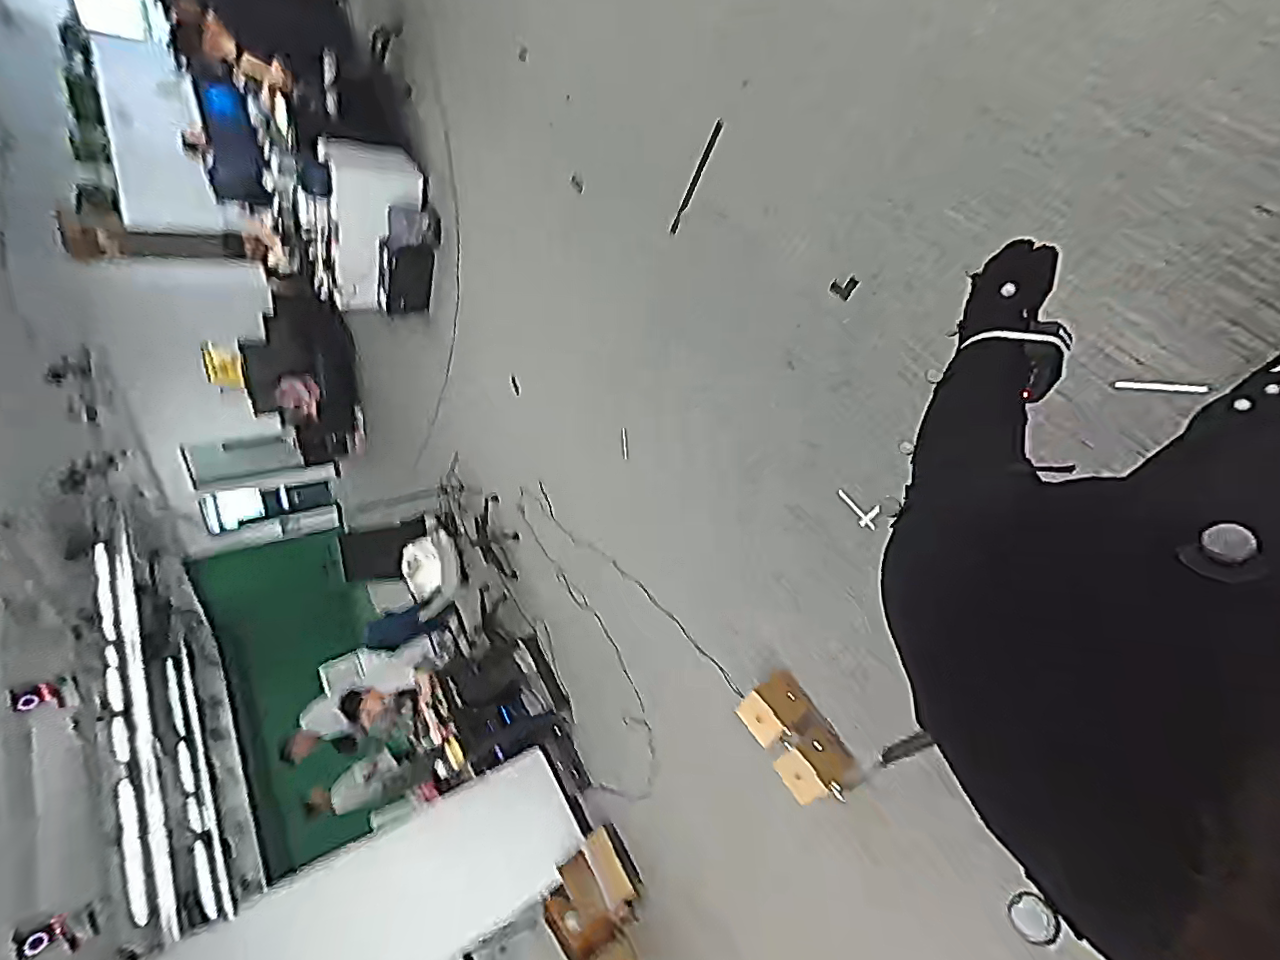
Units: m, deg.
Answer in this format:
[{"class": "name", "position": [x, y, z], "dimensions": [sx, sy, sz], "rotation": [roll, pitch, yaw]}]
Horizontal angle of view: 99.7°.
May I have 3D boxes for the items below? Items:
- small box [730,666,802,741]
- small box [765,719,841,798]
[{"class": "small box", "position": [0.478, 0.840, 2.041], "dimensions": [0.168, 0.176, 0.179], "rotation": [49, 136, 31]}, {"class": "small box", "position": [0.593, 0.998, 1.946], "dimensions": [0.168, 0.176, 0.179], "rotation": [52, 138, 28]}]
